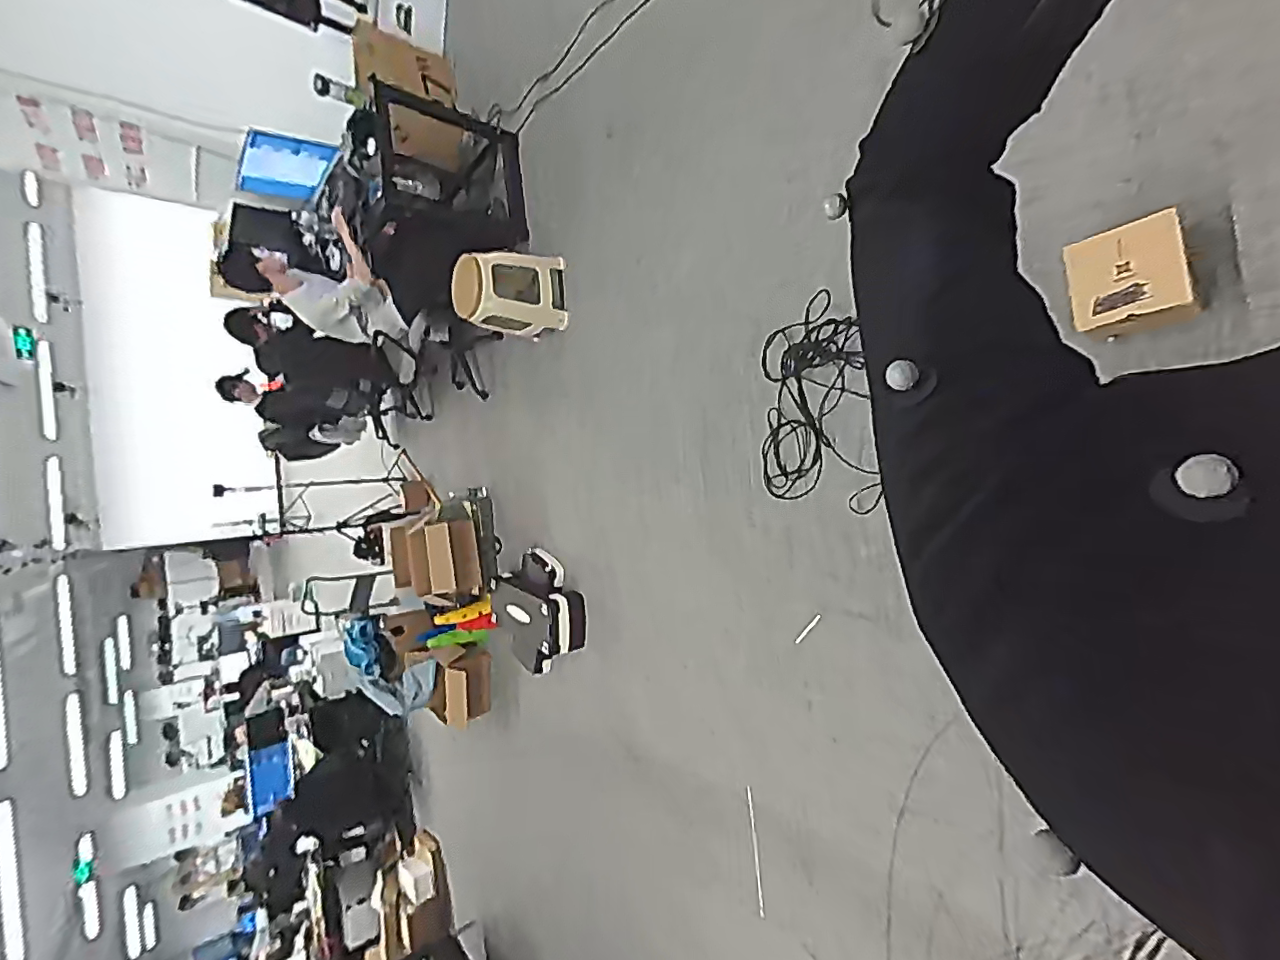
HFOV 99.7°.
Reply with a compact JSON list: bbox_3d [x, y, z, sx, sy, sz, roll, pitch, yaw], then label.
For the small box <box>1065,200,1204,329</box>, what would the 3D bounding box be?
[{"bbox_3d":[0.962,-0.404,1.052,0.168,0.176,0.179,-11,85,50],"label":"small box"}]
